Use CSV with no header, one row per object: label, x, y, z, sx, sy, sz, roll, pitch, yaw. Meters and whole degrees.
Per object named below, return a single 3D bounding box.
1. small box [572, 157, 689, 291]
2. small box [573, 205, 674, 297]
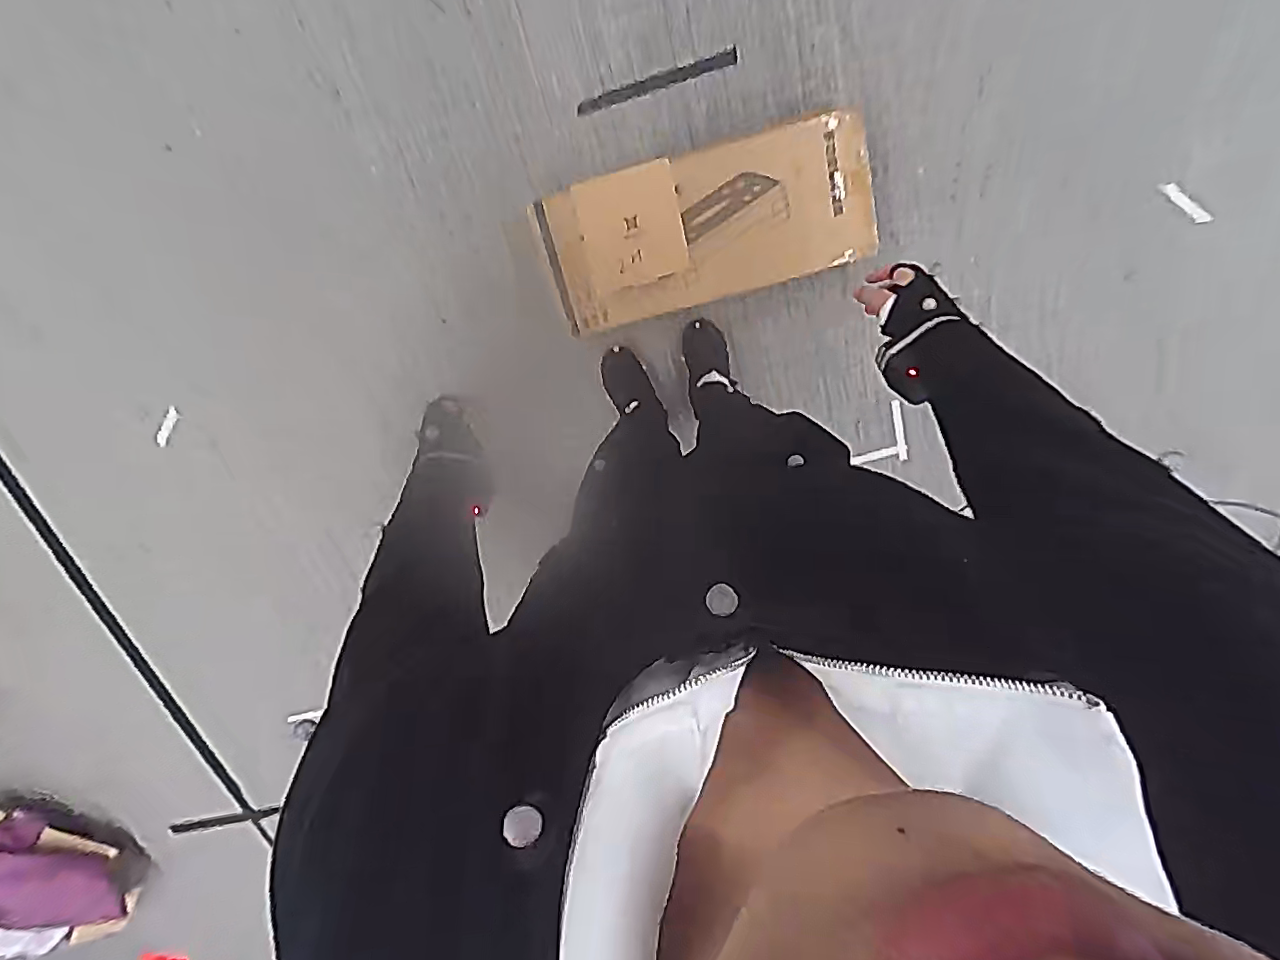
small box,-0.015,-0.447,0.973,0.168,0.176,0.179,-14,110,5
small box,-0.032,-0.493,1.132,0.168,0.176,0.179,-15,110,5
